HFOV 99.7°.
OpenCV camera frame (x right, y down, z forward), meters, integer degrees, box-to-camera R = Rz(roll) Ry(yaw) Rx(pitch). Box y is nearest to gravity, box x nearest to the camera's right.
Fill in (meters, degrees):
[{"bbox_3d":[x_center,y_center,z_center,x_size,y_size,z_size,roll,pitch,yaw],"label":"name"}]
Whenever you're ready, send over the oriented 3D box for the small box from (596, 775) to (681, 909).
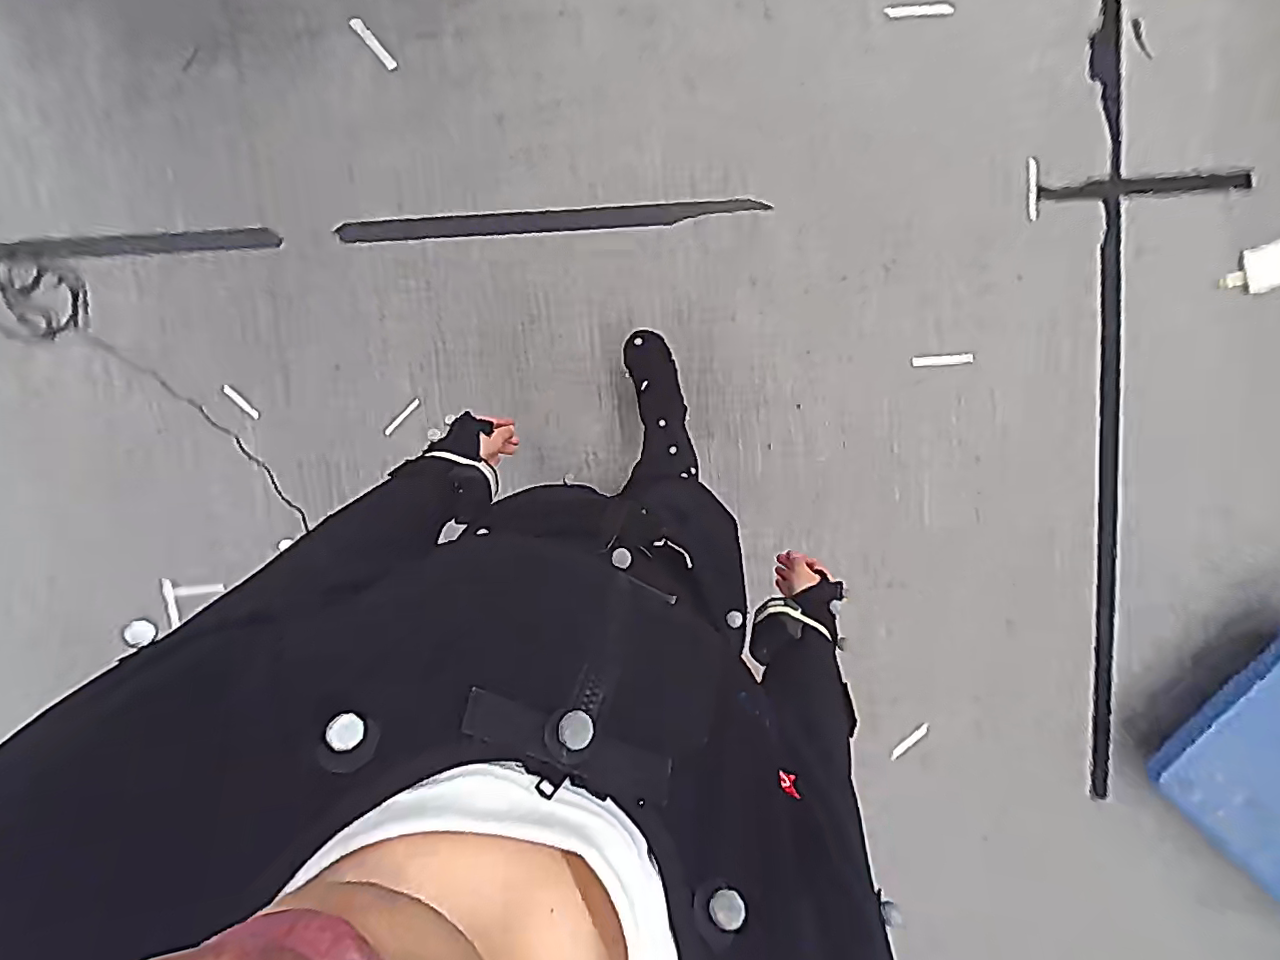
[{"bbox_3d":[-0.002,0.793,1.197,0.168,0.176,0.179,-7,96,0],"label":"small box"}]
